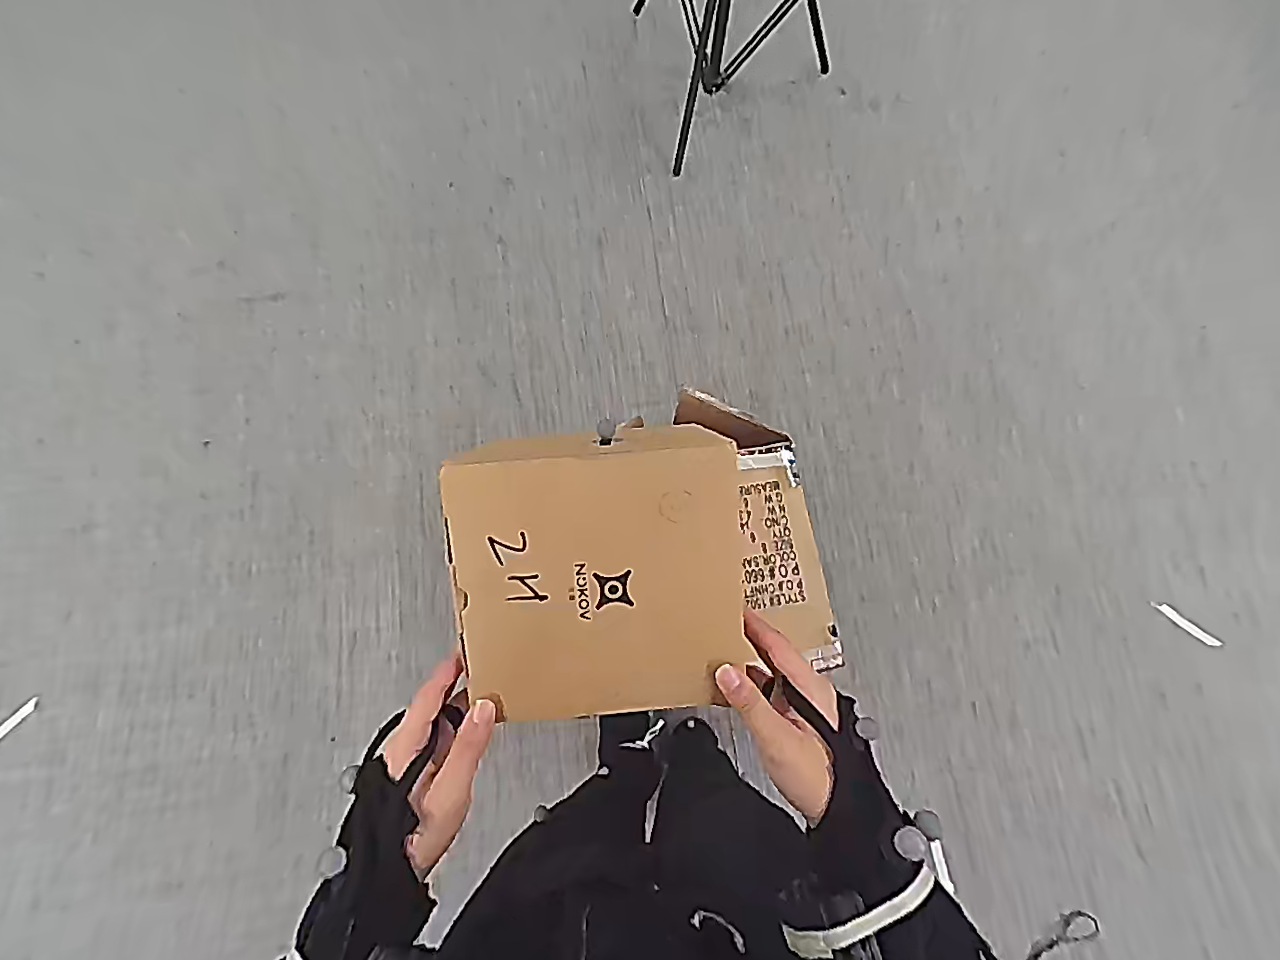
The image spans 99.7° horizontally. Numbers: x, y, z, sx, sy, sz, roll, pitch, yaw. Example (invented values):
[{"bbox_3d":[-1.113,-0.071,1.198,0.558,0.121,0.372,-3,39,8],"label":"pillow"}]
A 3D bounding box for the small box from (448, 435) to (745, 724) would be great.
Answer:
[{"bbox_3d":[-0.027,0.057,0.413,0.179,0.176,0.168,-4,99,-2],"label":"small box"}]
